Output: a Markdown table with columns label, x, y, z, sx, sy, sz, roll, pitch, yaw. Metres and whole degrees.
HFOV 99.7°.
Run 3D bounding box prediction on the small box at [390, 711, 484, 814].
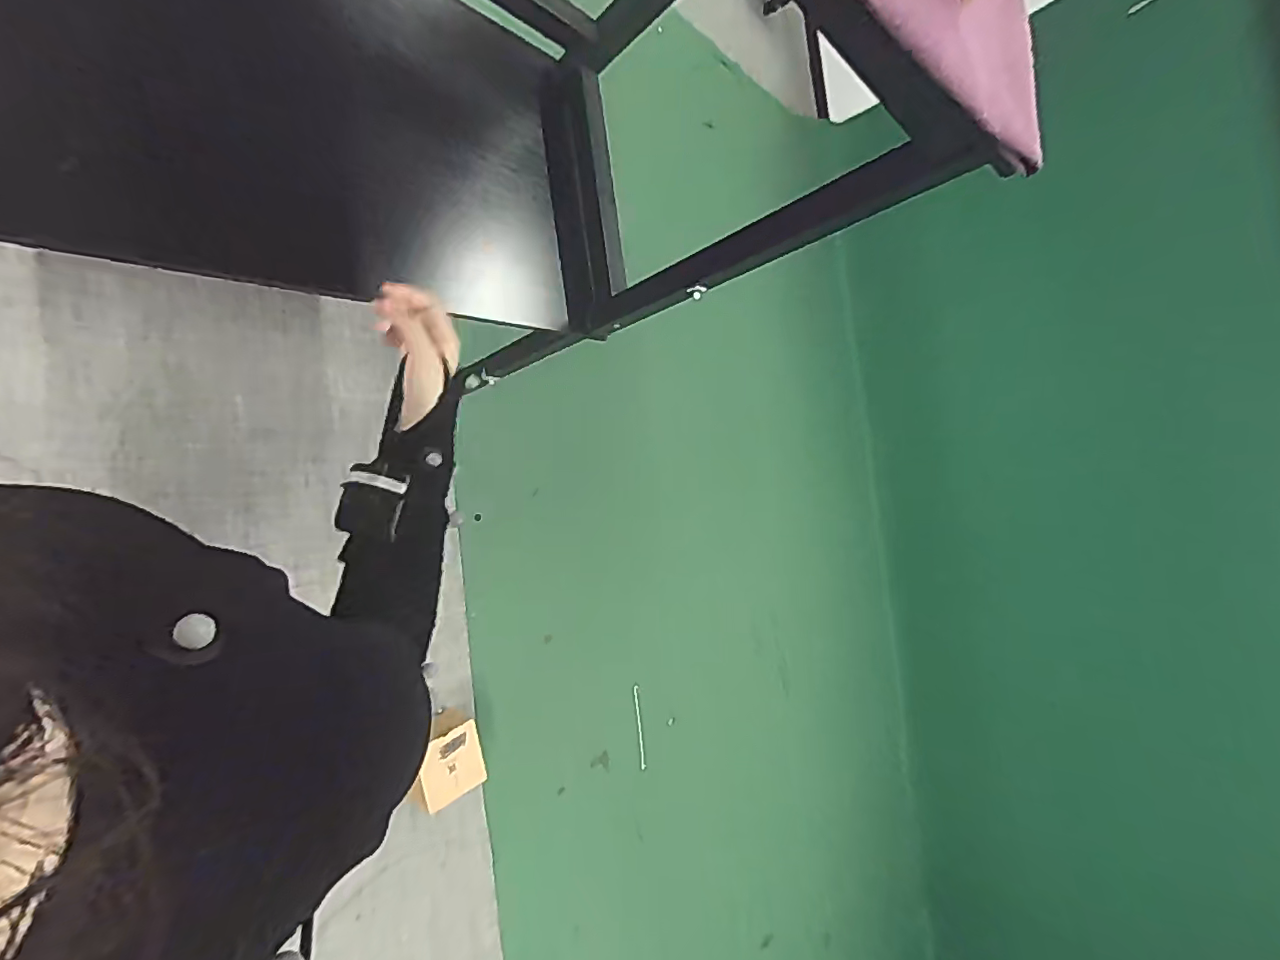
| label | x | y | z | sx | sy | sz | roll | pitch | yaw |
| --- | --- | --- | --- | --- | --- | --- | --- | --- | --- |
| small box | -0.545 | 0.740 | 1.446 | 0.168 | 0.176 | 0.179 | -14 | 95 | -45 |
